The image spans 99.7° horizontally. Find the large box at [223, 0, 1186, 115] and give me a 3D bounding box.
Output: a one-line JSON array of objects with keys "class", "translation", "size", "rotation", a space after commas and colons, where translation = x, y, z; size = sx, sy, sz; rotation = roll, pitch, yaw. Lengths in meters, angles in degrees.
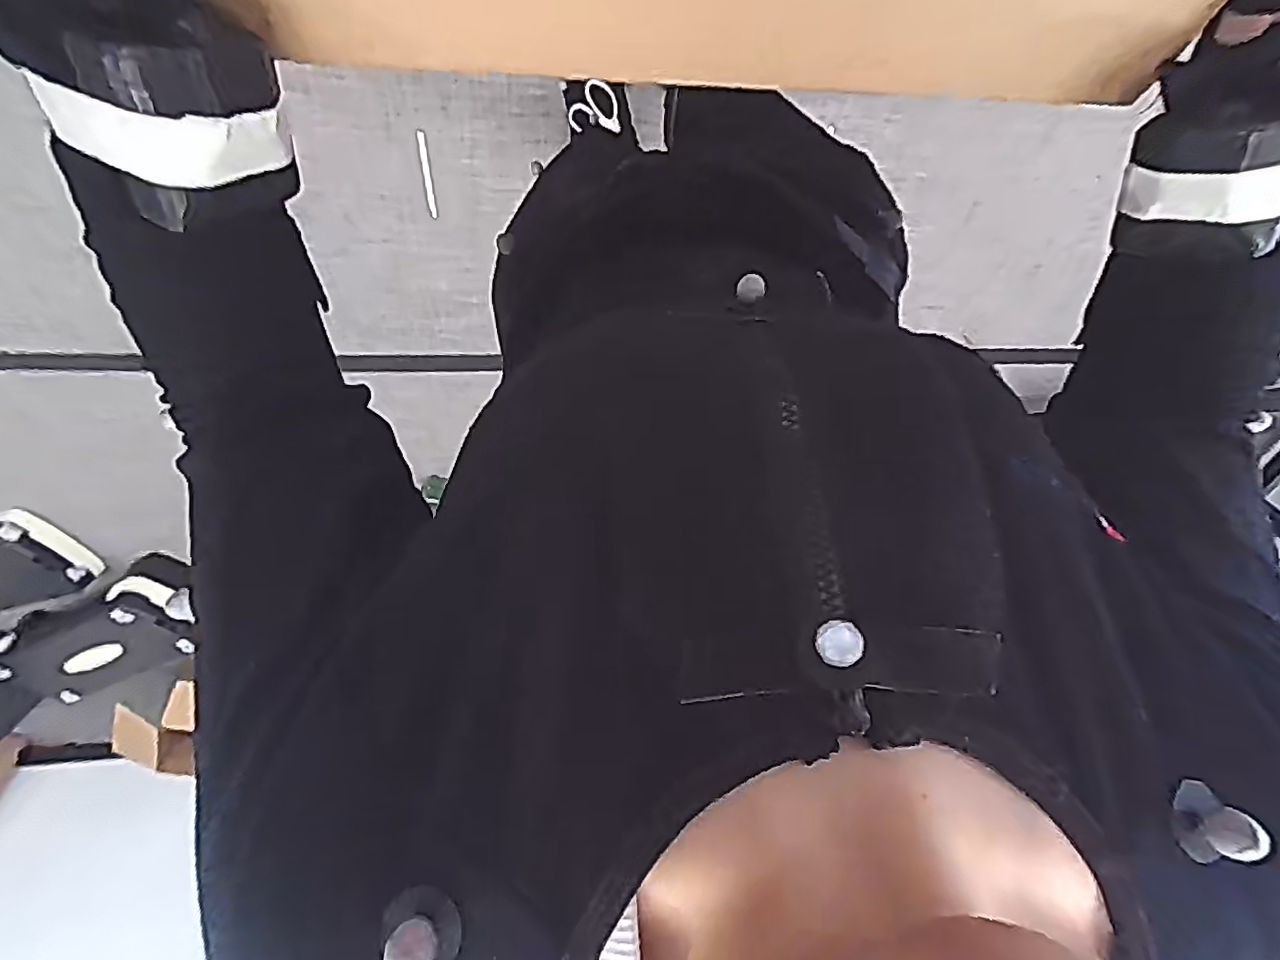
[{"class": "large box", "translation": [0.037, -0.375, 0.171], "size": [0.408, 0.320, 0.320], "rotation": [-2, 157, -7]}]
